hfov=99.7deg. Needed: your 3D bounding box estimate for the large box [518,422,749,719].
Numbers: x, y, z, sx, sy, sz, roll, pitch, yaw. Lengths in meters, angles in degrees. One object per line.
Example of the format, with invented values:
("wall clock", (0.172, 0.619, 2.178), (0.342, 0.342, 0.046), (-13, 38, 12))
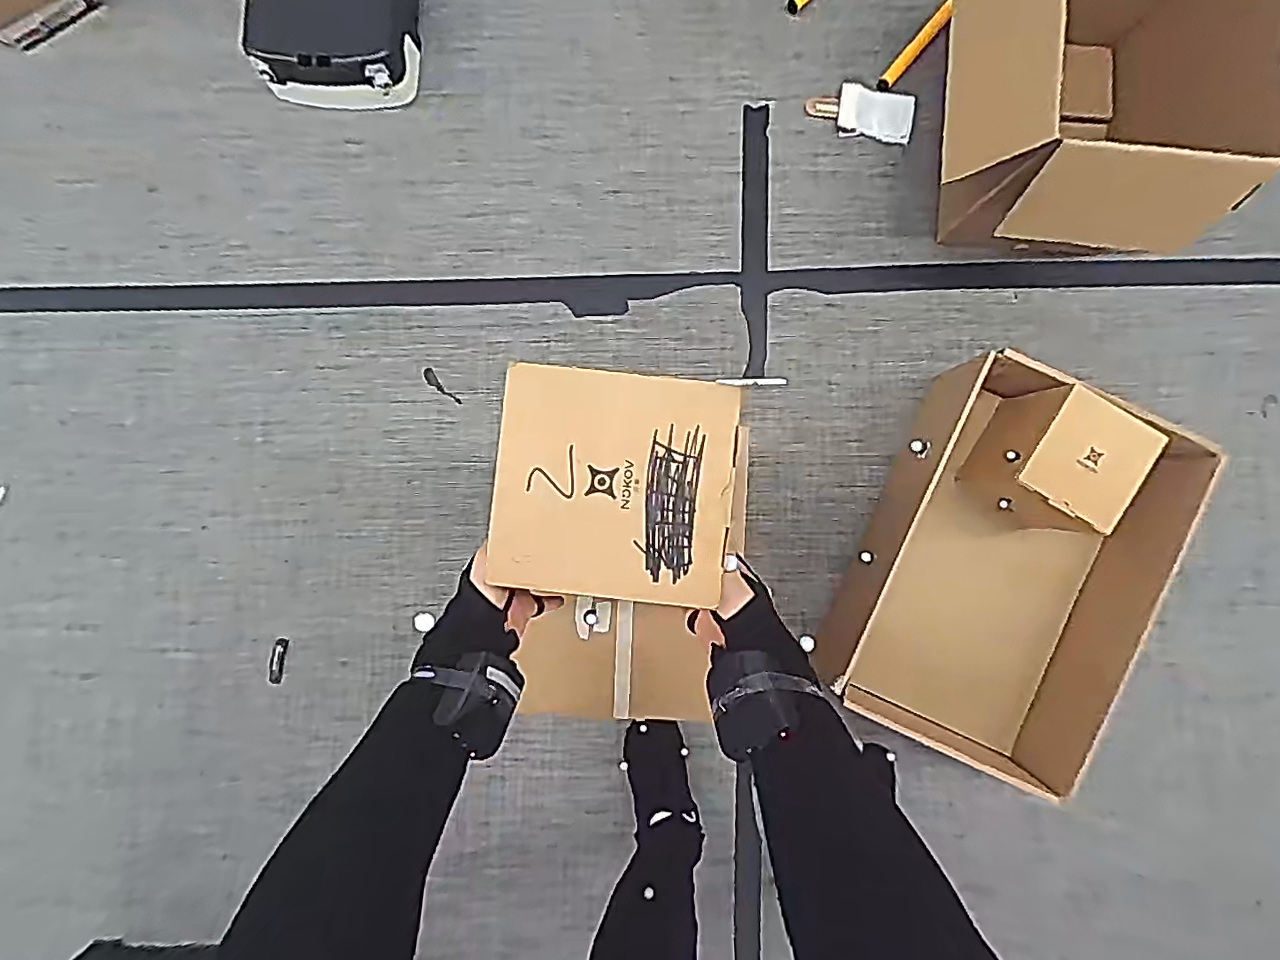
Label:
("large box", (-0.007, 0.120, 0.879), (0.320, 0.320, 0.408), (2, 90, 2))
